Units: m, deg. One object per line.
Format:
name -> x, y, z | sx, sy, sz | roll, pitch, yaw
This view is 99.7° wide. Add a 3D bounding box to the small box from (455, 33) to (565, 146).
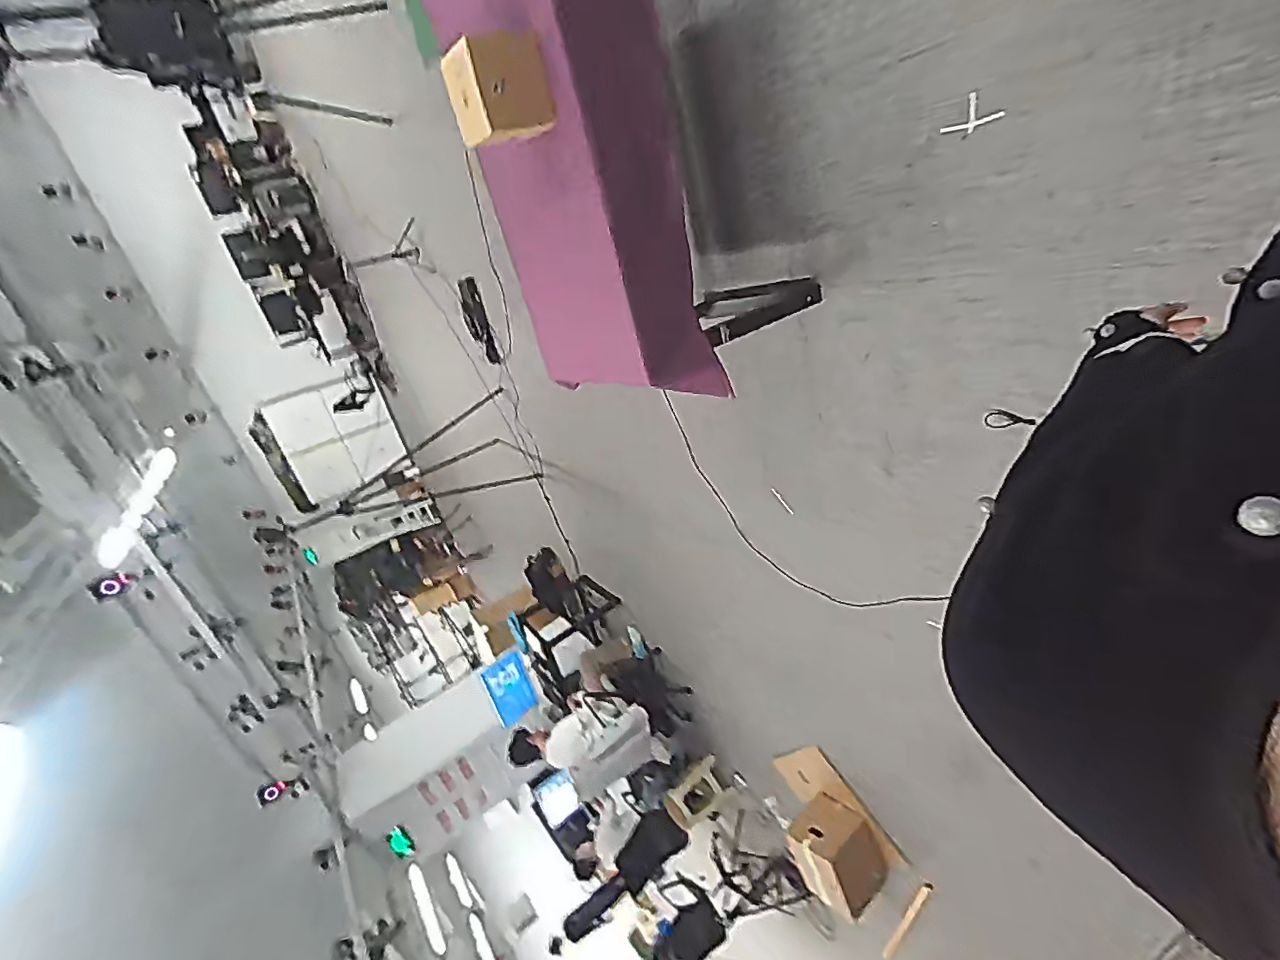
small box -> -0.293, -0.892, 1.241 | 0.168, 0.176, 0.179 | 25, 135, 50
